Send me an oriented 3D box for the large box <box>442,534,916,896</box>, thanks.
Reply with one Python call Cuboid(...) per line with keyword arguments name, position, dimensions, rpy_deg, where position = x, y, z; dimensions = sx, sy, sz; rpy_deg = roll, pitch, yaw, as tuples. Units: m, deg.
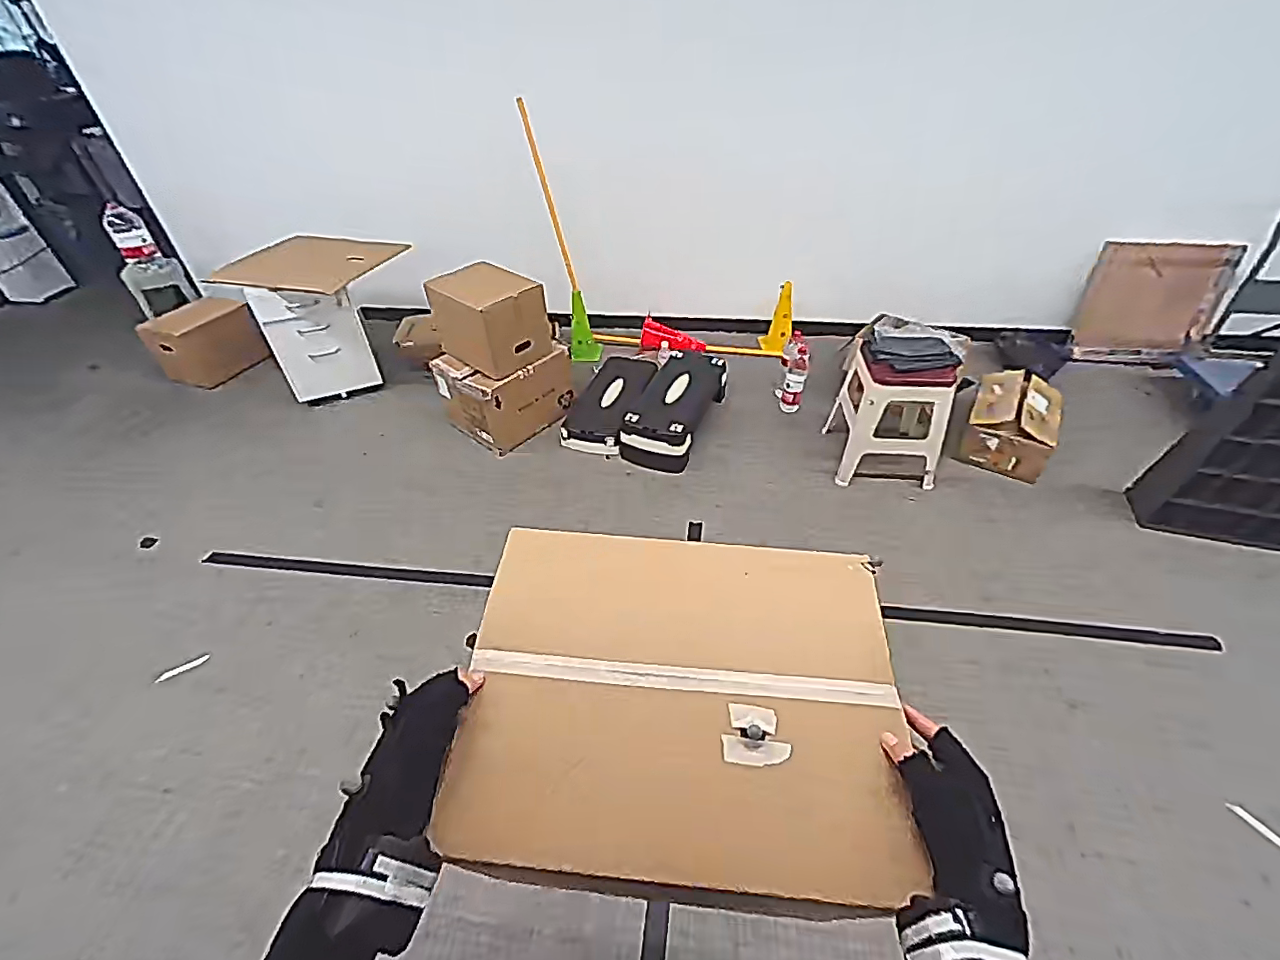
Cuboid(name="large box", position=(0.037, 0.288, 0.653), dimensions=(0.408, 0.320, 0.320), rpy_deg=(4, 52, 3))
